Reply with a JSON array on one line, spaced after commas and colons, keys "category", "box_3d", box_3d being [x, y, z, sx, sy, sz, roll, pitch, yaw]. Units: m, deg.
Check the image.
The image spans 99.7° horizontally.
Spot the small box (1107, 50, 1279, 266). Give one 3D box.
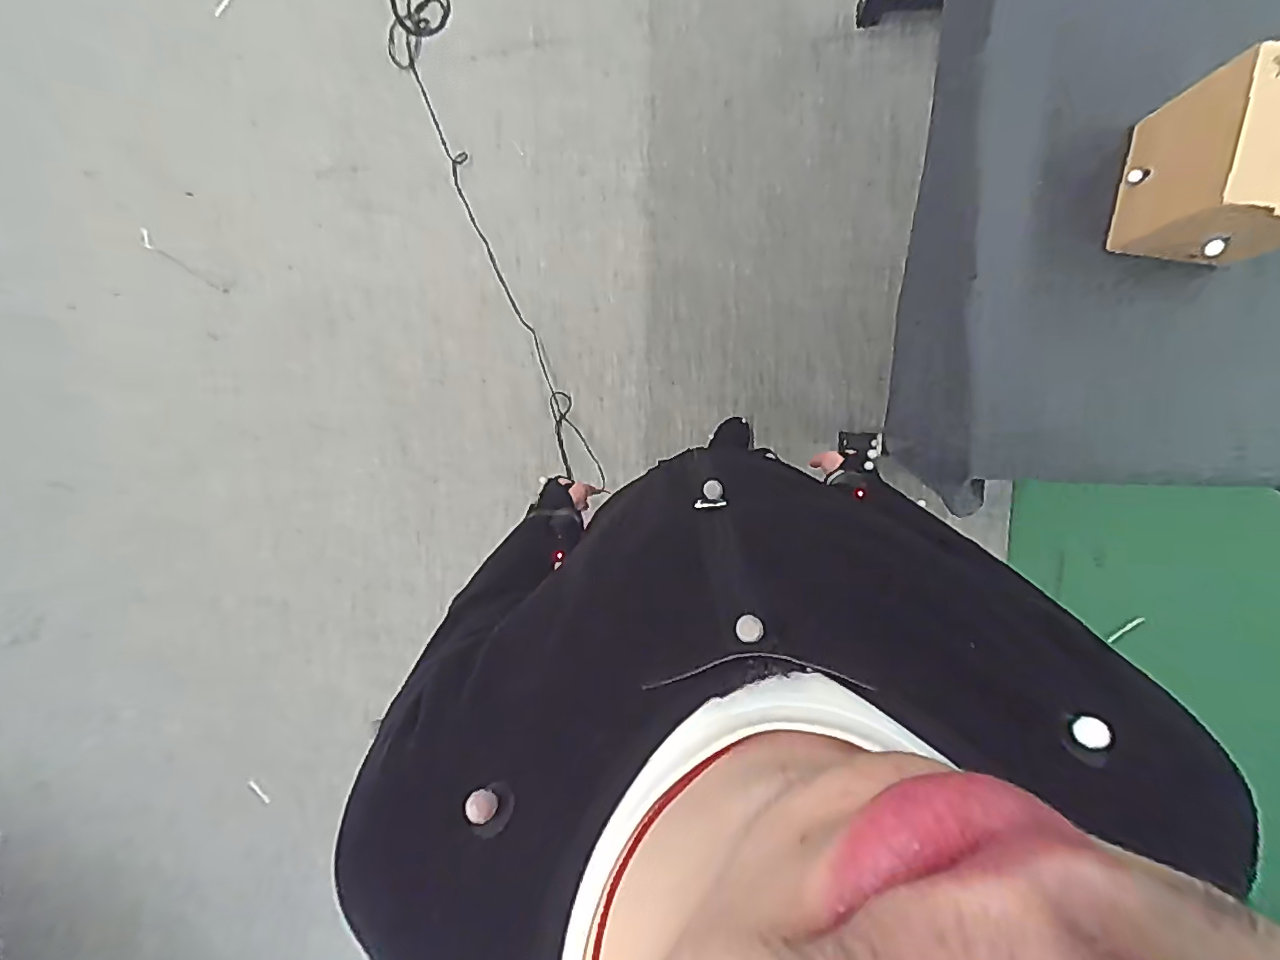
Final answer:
[{"category": "small box", "box_3d": [0.750, -0.387, 0.683, 0.168, 0.176, 0.179, 10, 97, 3]}]

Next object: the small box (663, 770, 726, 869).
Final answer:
[{"category": "small box", "box_3d": [0.153, 0.981, 1.571, 0.168, 0.176, 0.179, 3, 96, 1]}]
